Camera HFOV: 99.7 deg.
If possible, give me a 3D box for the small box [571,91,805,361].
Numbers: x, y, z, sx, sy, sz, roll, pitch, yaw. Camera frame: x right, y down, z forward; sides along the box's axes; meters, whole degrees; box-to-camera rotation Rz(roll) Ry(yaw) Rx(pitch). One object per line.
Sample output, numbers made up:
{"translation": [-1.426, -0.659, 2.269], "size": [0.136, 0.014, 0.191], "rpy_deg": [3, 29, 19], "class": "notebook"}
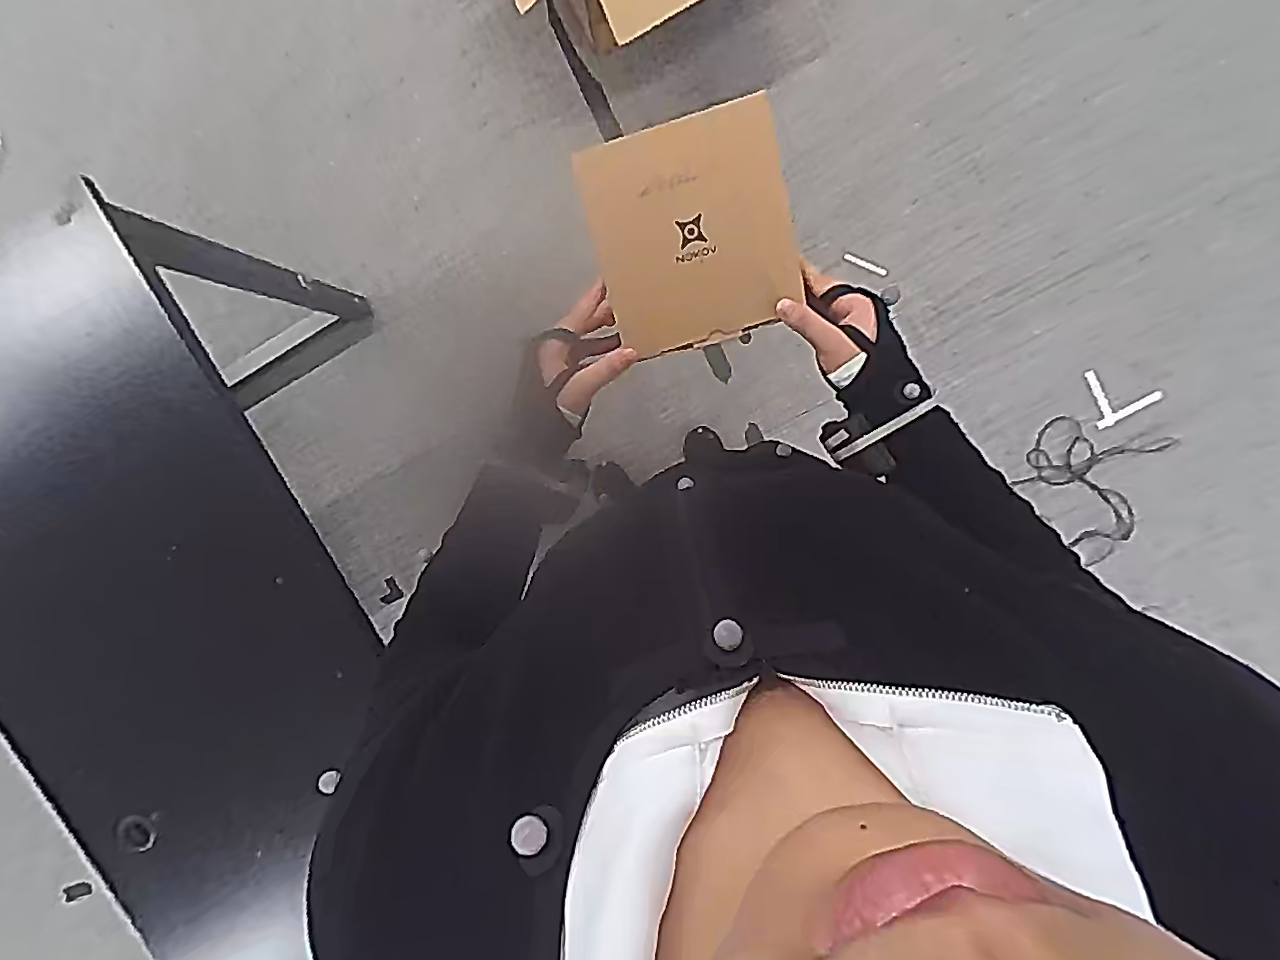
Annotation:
{"translation": [0.046, -0.228, 0.530], "size": [0.168, 0.176, 0.179], "rpy_deg": [-15, 104, 5], "class": "small box"}
